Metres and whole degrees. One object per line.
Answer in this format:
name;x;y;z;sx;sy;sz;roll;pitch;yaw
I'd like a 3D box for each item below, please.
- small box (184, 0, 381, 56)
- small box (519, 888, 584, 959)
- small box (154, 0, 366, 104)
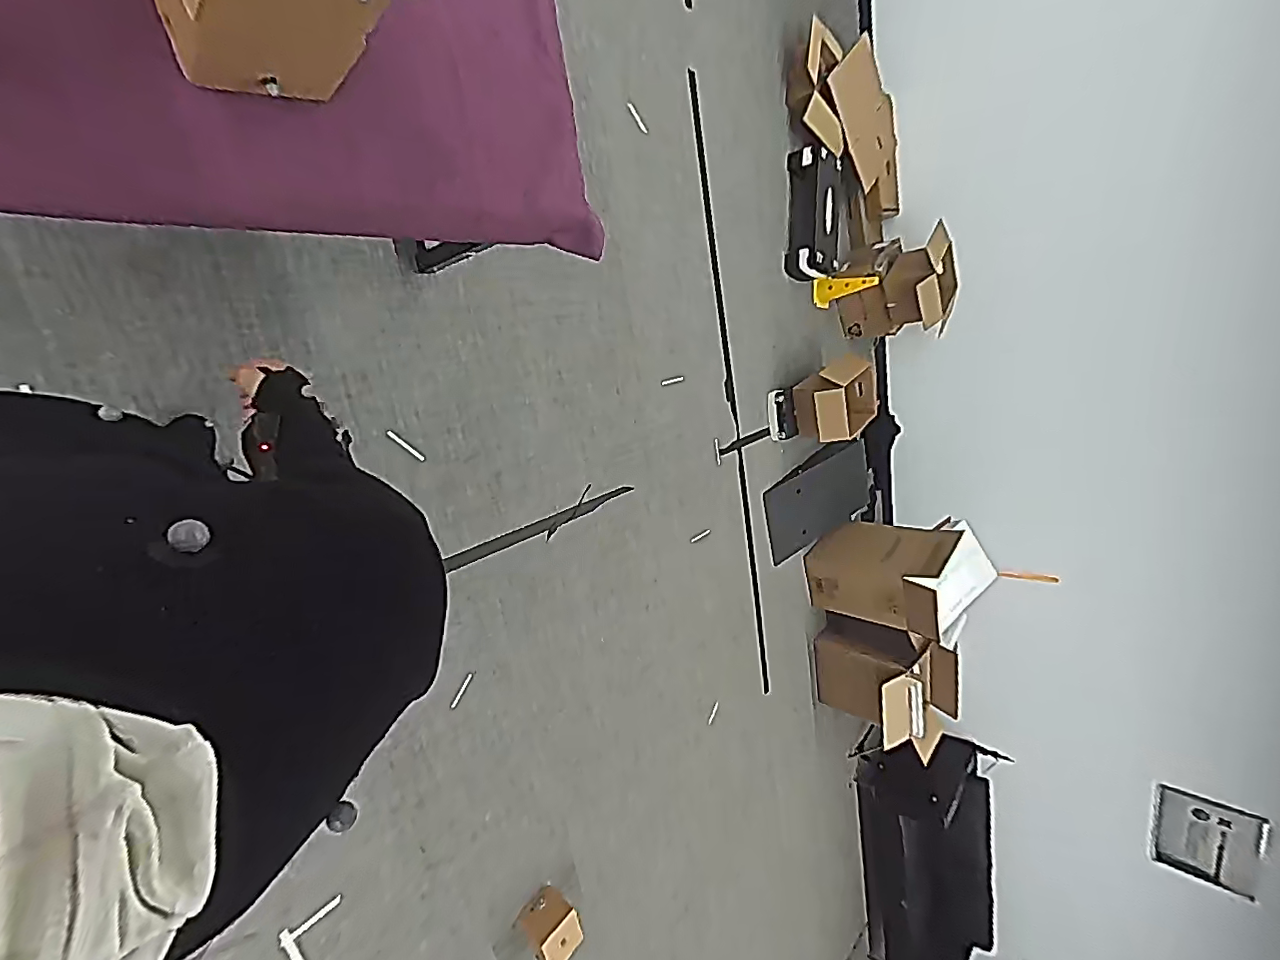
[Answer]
small box;-0.383;-0.581;0.559;0.179;0.176;0.168;-27;112;-41
small box;-0.349;1.764;2.118;0.168;0.176;0.179;-27;113;-41
small box;-0.488;-0.607;0.683;0.179;0.176;0.168;-27;111;-42
